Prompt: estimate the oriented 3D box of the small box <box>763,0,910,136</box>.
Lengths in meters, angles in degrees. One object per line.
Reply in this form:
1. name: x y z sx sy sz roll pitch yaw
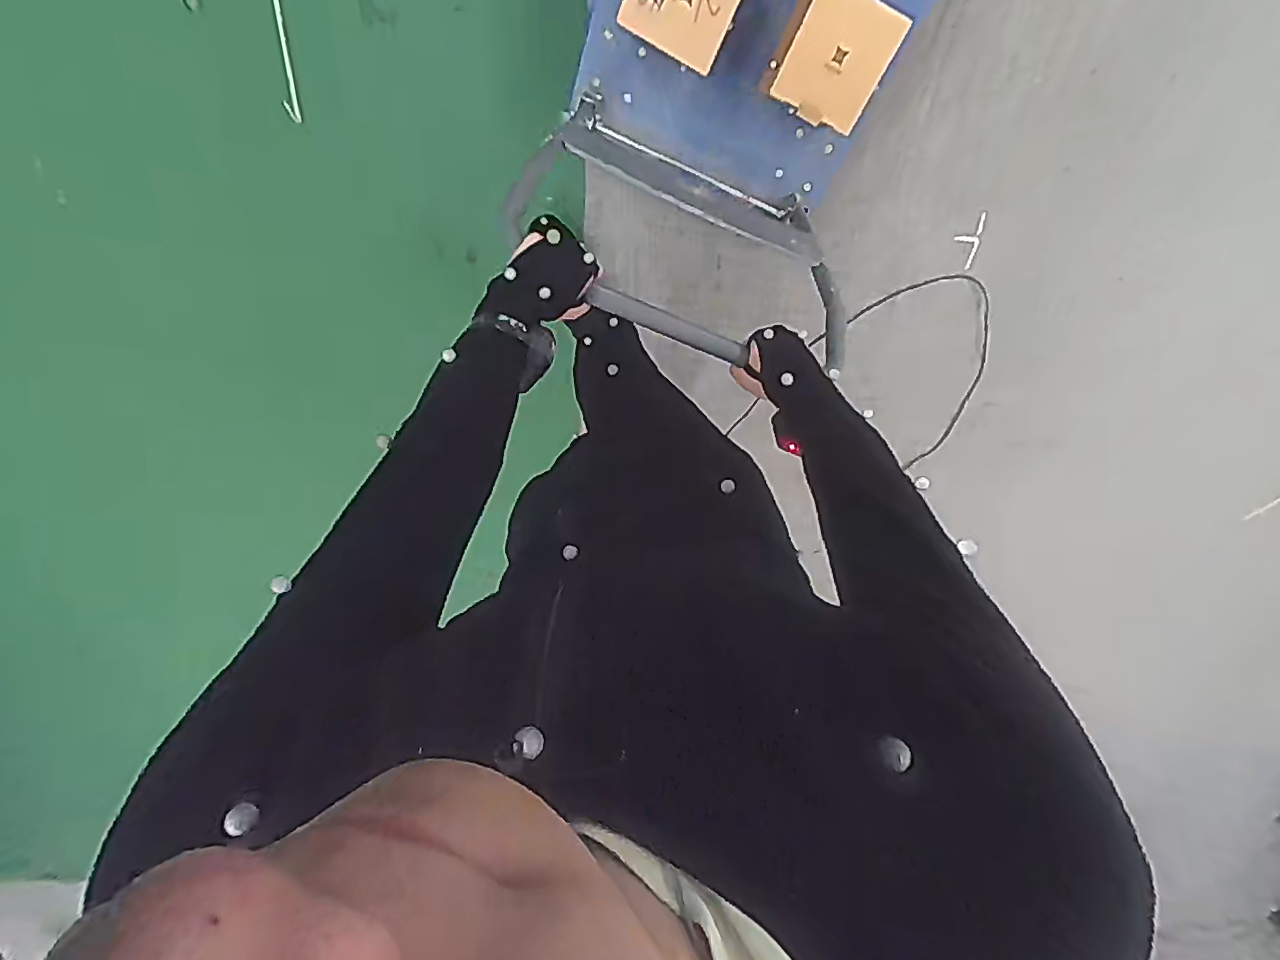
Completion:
1. small box: 0.337 -0.760 0.971 0.168 0.176 0.179 20 129 -12
